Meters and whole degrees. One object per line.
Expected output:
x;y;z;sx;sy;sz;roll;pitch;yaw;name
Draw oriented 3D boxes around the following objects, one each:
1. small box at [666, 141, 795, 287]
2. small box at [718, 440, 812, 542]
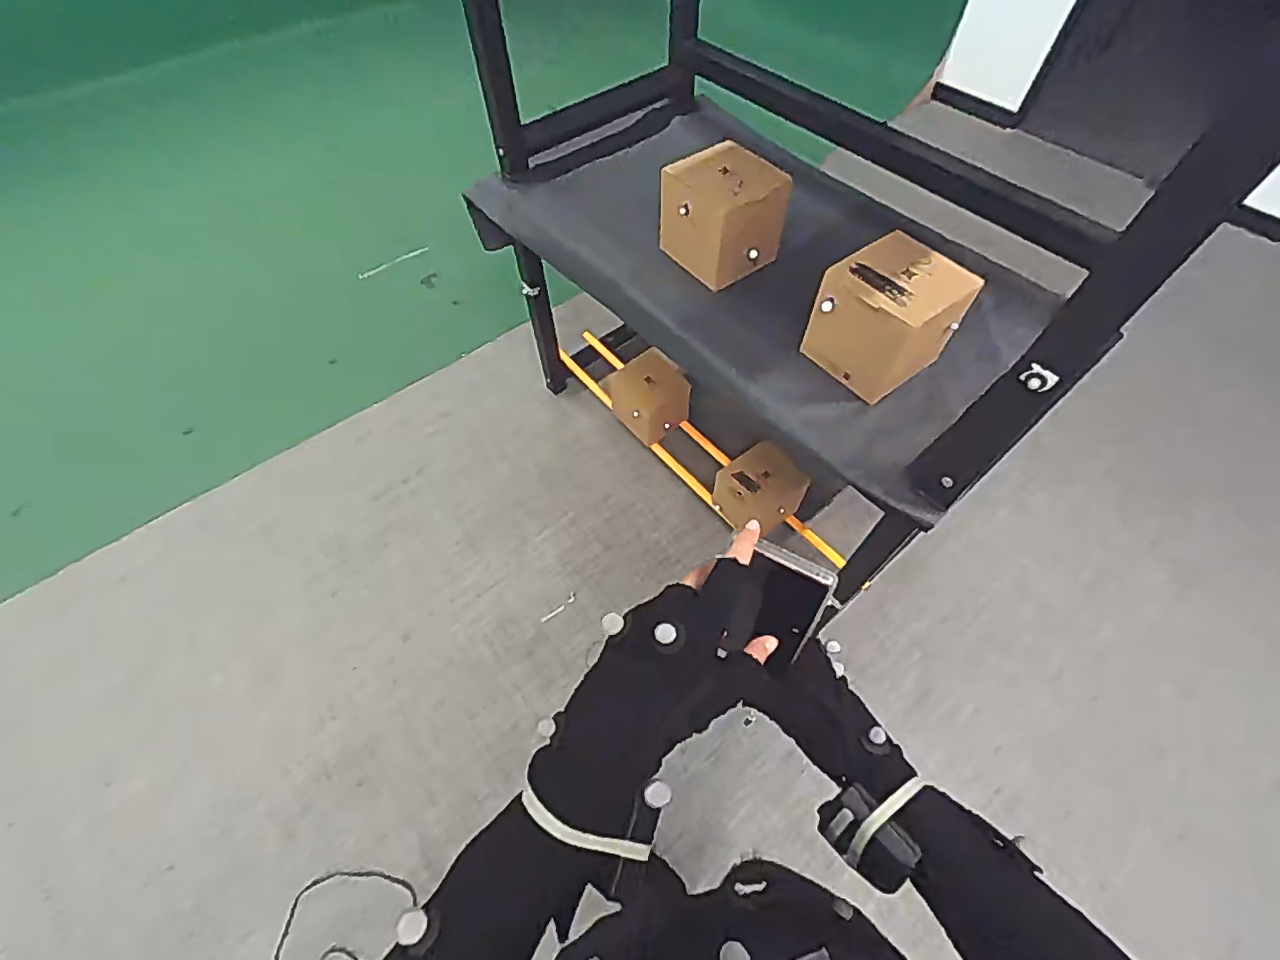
0.160;-0.505;1.034;0.168;0.176;0.179;-33;63;-18;small box
0.321;0.034;1.429;0.179;0.176;0.168;-33;63;-17;small box
